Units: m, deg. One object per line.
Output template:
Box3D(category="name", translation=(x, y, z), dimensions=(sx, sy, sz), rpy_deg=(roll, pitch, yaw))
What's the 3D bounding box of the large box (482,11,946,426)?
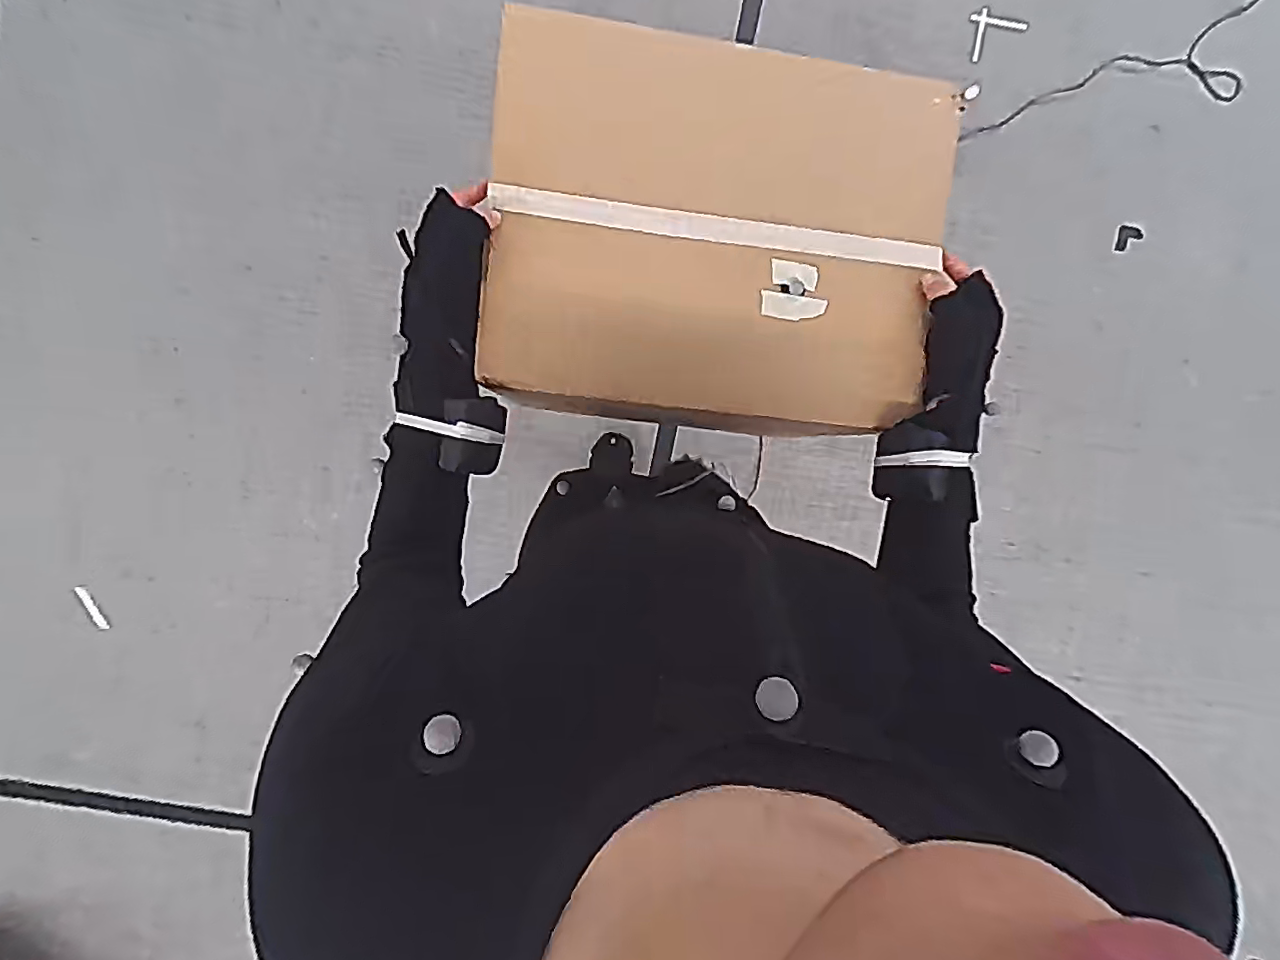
Box3D(category="large box", translation=(0.053, -0.236, 0.629), dimensions=(0.408, 0.320, 0.320), rpy_deg=(6, 95, -7))
